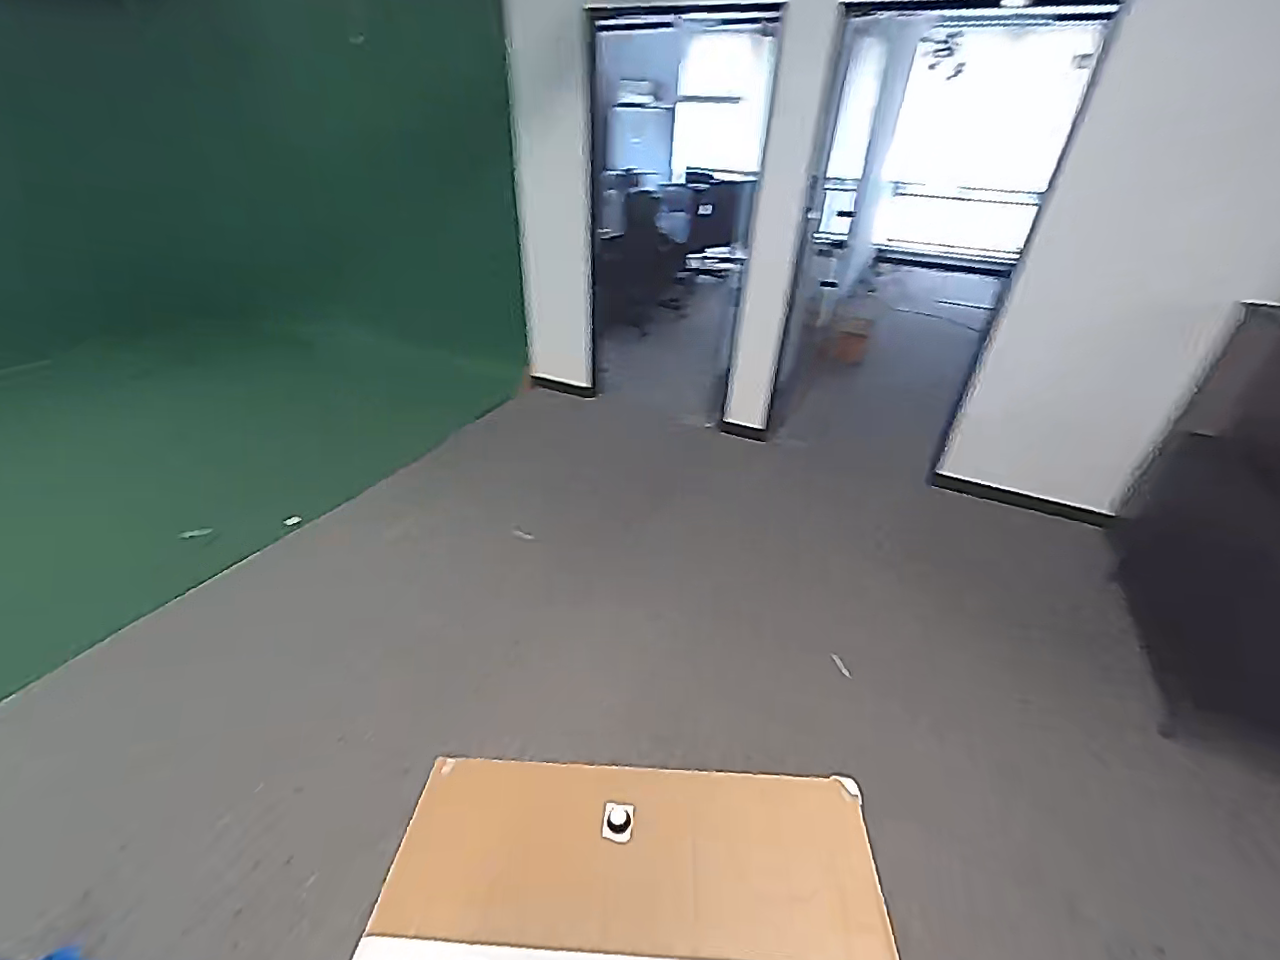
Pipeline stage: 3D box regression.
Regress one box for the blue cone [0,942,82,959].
[{"bbox_3d":[-1.201,0.915,0.984,0.192,0.380,0.193,16,33,18],"label":"blue cone"}]
